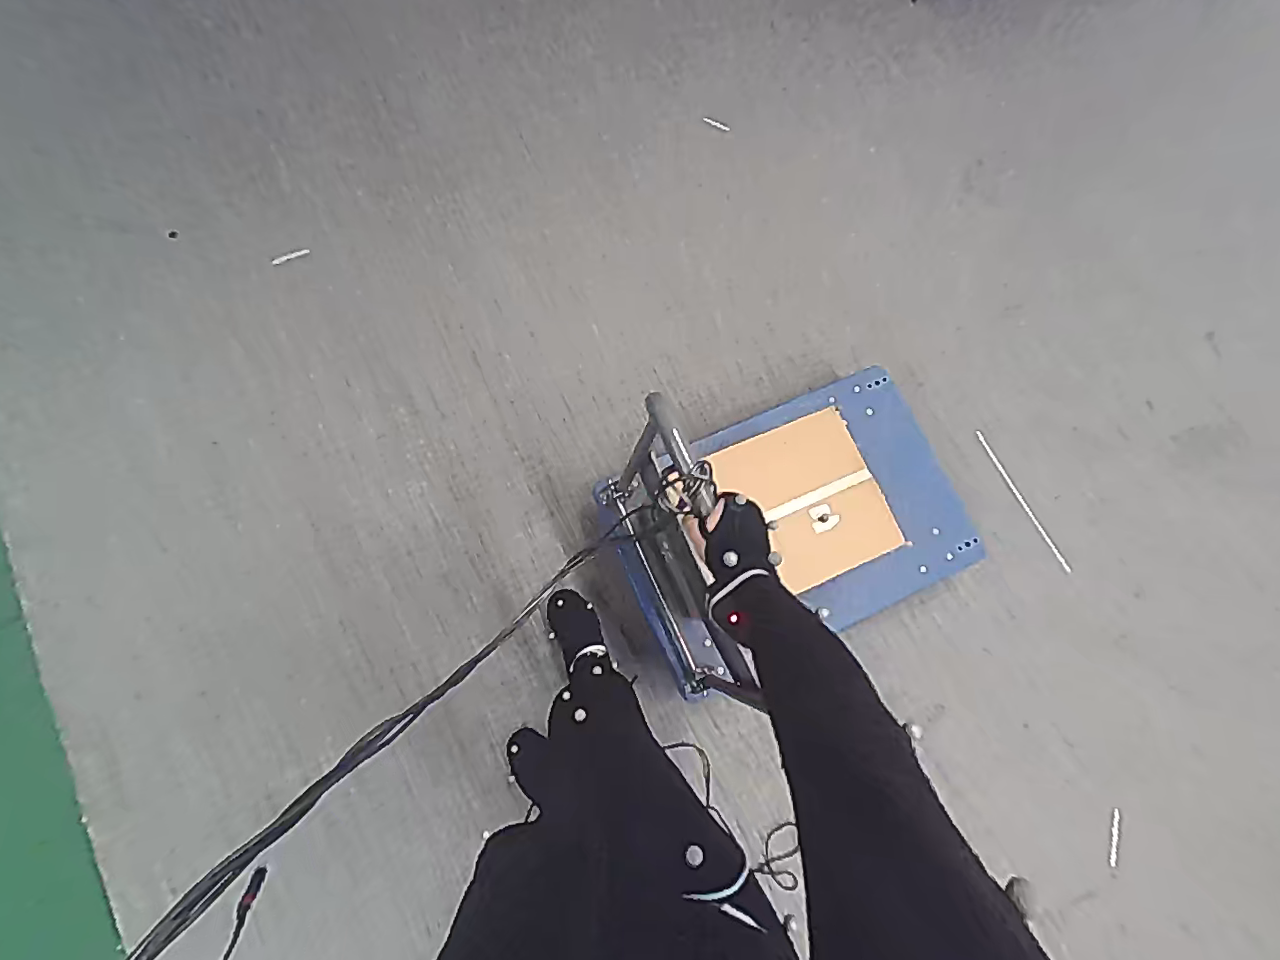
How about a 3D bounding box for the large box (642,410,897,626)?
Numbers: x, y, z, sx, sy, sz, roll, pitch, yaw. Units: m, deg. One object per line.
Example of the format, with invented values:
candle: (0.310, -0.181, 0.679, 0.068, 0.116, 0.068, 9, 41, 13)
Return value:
large box: (0.257, 0.098, 1.204, 0.408, 0.320, 0.320, -21, 81, -10)
